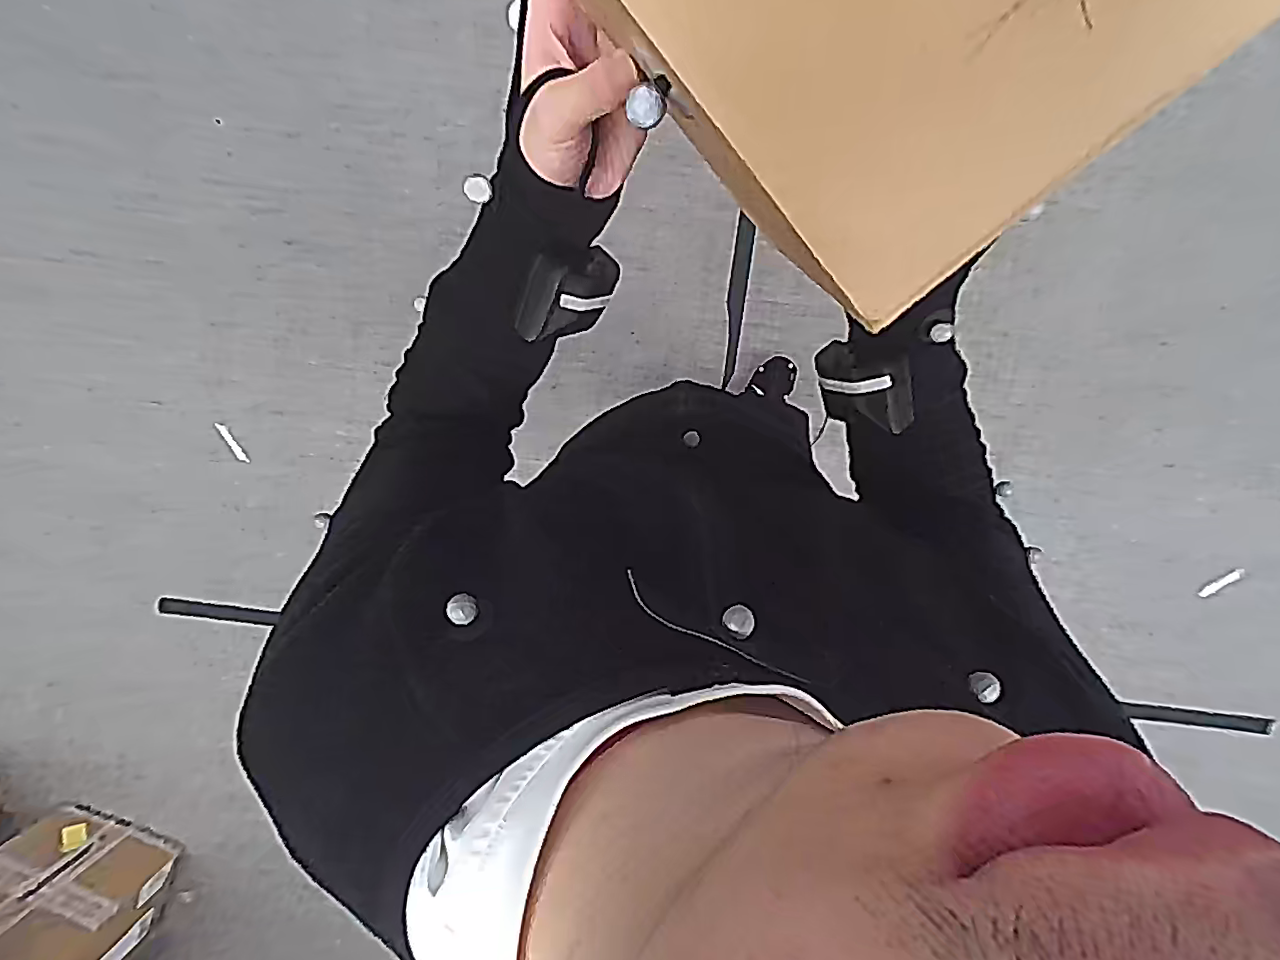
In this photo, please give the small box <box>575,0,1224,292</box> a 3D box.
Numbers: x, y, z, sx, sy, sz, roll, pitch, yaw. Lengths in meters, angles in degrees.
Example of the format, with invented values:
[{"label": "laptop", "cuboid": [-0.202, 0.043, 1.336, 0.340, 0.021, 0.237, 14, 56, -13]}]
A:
[{"label": "small box", "cuboid": [0.068, -0.198, 0.181, 0.168, 0.176, 0.179, -40, 112, 23]}]
